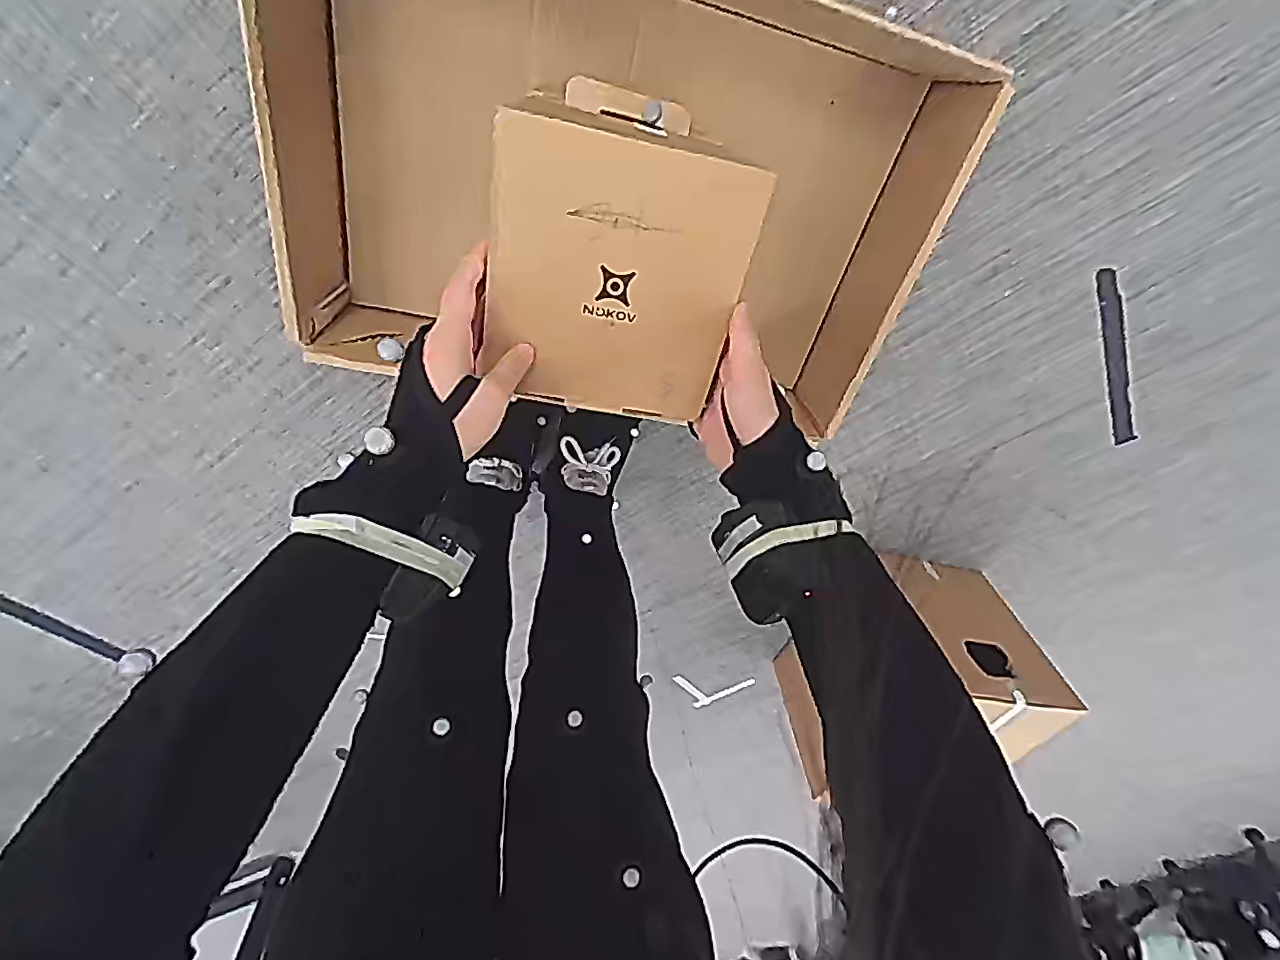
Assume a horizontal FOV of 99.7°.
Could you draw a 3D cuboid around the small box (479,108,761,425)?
[{"bbox_3d":[-0.026,-0.168,0.421,0.168,0.176,0.179,6,125,-10],"label":"small box"}]
